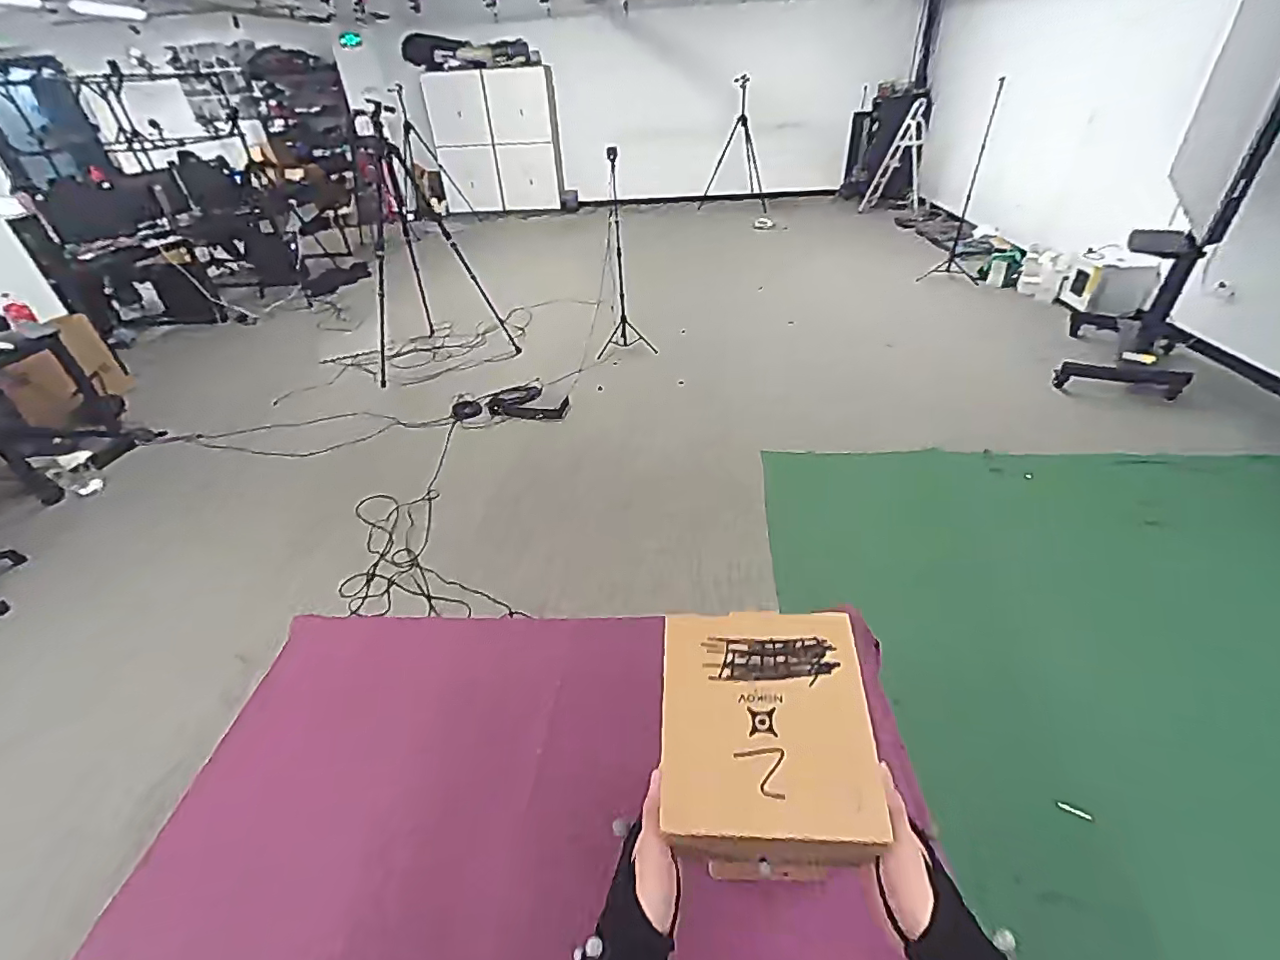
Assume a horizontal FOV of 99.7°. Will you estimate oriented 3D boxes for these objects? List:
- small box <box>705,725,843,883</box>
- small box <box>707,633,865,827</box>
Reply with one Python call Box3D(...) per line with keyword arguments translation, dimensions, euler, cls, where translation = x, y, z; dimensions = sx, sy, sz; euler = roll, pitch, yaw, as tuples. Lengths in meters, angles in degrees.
Box3D(translation=(0.183, 0.457, 0.796), dimensions=(0.168, 0.176, 0.179), euler=(-2, 35, 4), cls="small box")
Box3D(translation=(0.173, 0.322, 0.699), dimensions=(0.168, 0.176, 0.179), euler=(0, 36, 5), cls="small box")
